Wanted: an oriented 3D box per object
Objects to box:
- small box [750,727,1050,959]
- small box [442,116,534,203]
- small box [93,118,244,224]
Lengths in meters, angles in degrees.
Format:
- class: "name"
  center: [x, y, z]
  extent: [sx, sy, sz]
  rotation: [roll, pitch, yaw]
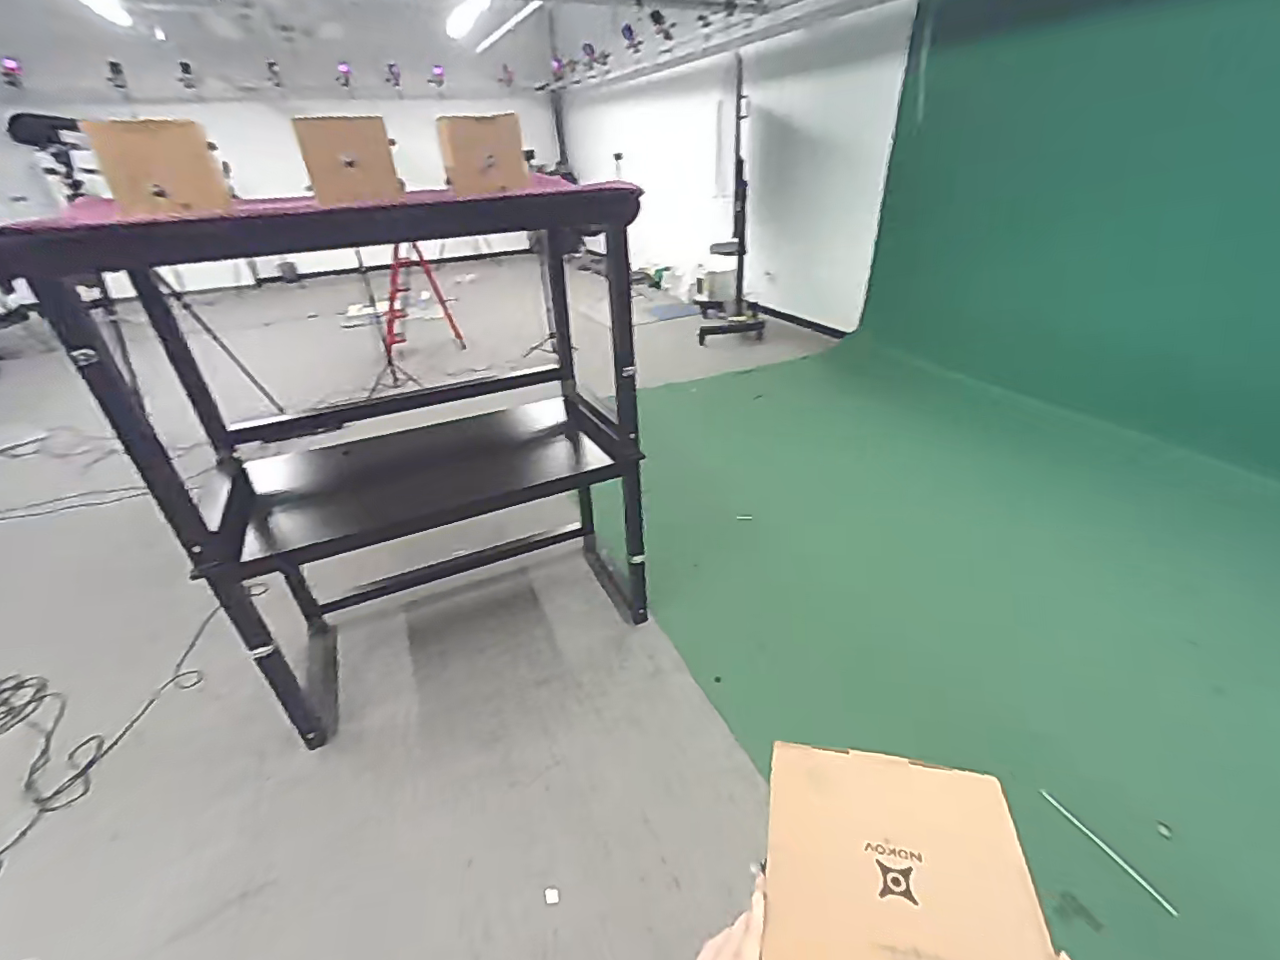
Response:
- class: "small box"
  center: [0.168, 0.320, 0.392]
  extent: [0.168, 0.176, 0.179]
  rotation: [2, 29, 15]
- class: "small box"
  center: [-0.363, -0.767, 1.299]
  extent: [0.168, 0.176, 0.179]
  rotation: [-15, 34, -20]
- class: "small box"
  center: [-0.911, -0.604, 1.067]
  extent: [0.168, 0.176, 0.179]
  rotation: [-17, 33, -24]
